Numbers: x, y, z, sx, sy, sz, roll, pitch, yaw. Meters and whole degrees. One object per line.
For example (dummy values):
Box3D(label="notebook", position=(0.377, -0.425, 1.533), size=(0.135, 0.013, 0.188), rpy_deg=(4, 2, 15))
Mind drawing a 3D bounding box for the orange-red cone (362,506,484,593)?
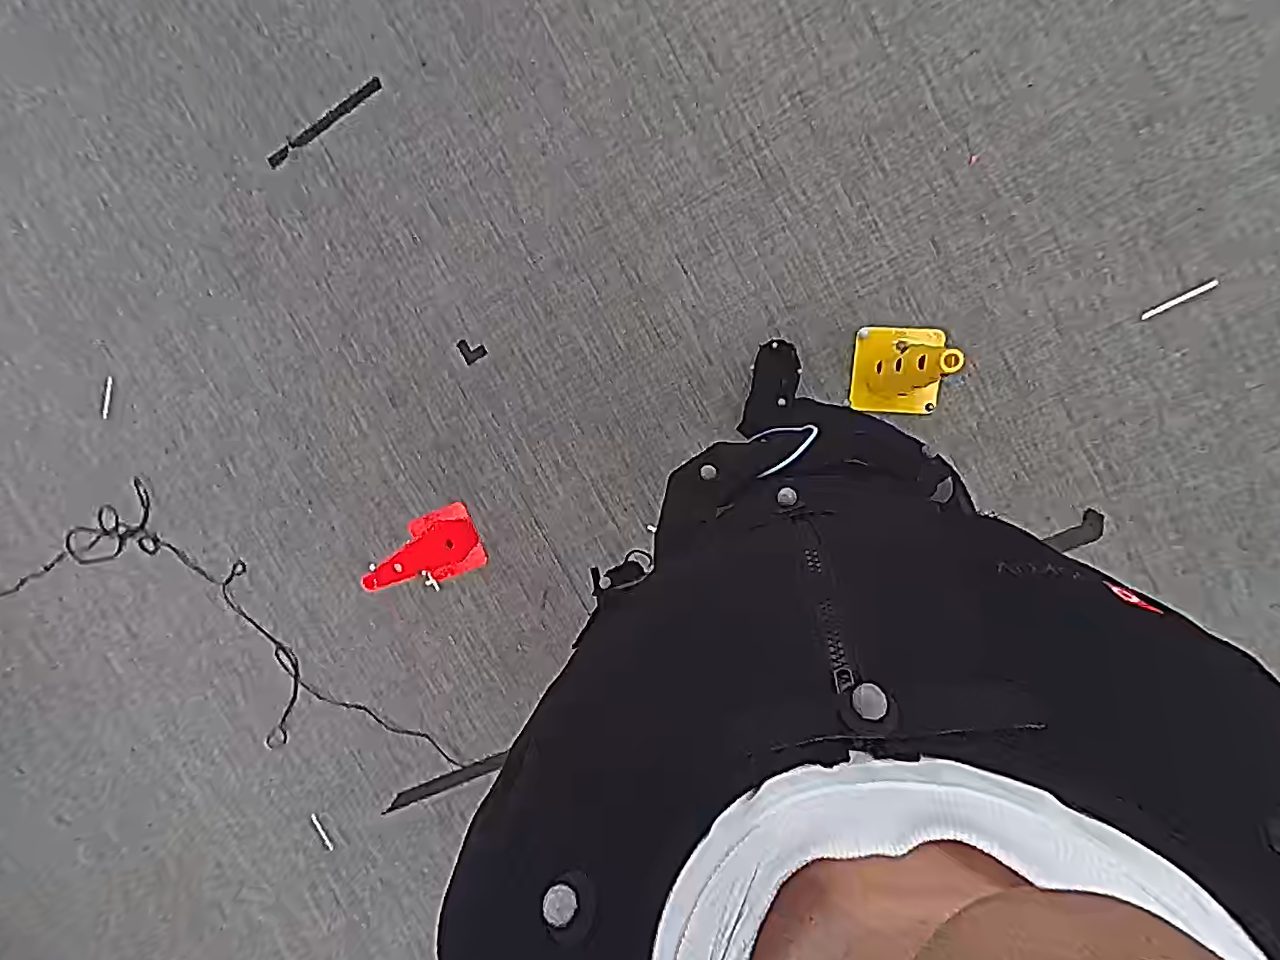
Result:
Box3D(label="orange-red cone", position=(-0.599, 0.216, 1.423), size=(0.199, 0.360, 0.198), rpy_deg=(-20, 95, 11))
